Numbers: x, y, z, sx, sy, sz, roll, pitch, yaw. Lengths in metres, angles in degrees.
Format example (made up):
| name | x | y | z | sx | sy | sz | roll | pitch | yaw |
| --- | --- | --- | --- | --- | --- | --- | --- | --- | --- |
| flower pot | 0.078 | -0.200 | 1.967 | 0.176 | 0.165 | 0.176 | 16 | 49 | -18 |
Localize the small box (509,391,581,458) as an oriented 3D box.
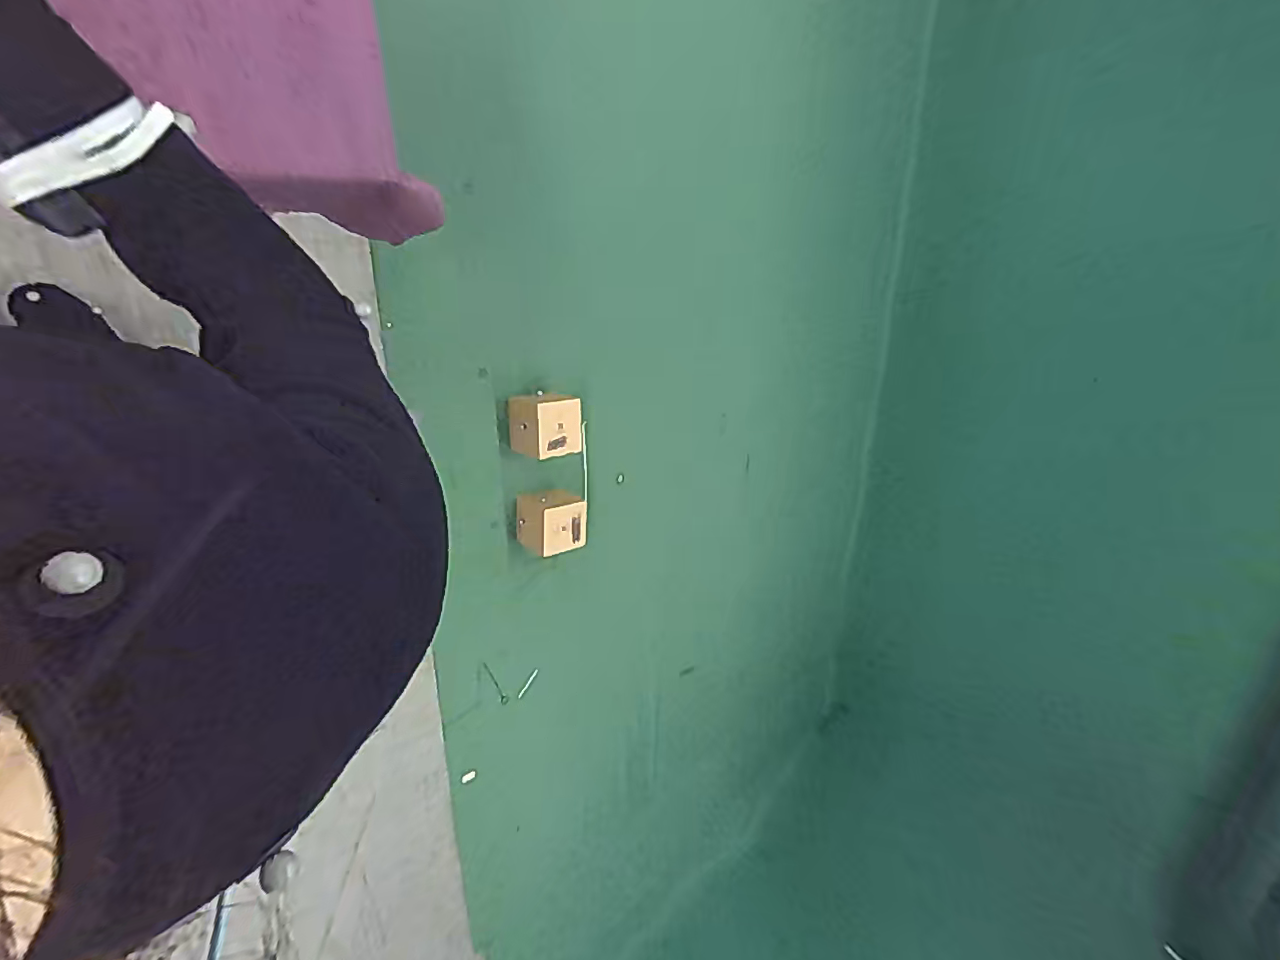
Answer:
| name | x | y | z | sx | sy | sz | roll | pitch | yaw |
| --- | --- | --- | --- | --- | --- | --- | --- | --- | --- |
| small box | -0.304 | -0.183 | 1.734 | 0.168 | 0.176 | 0.179 | -16 | 114 | -41 |
